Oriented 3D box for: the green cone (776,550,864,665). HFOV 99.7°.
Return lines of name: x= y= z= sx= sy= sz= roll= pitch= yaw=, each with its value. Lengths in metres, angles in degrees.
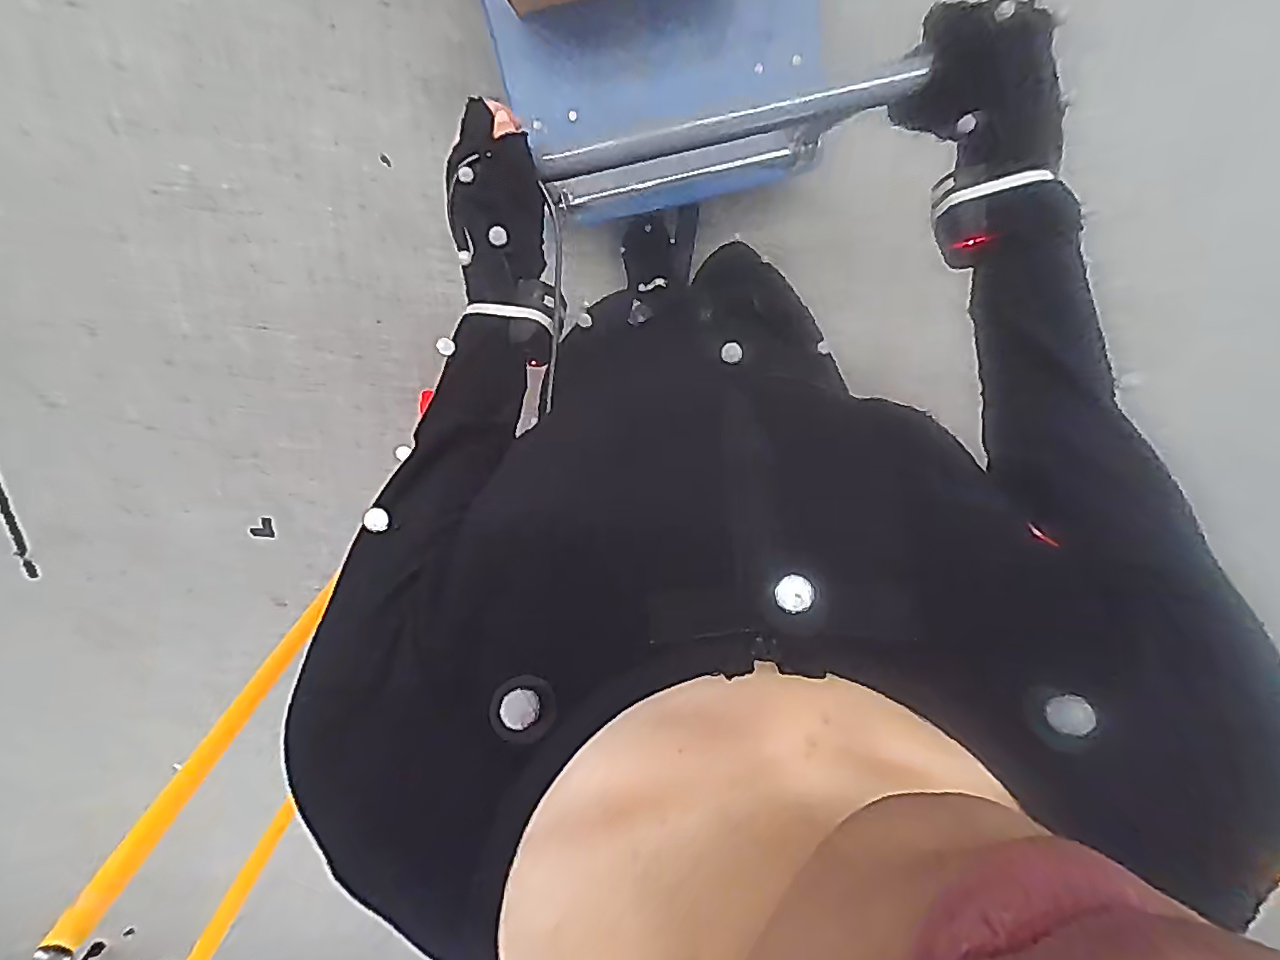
green cone: x=0.559 y=0.394 z=1.581 sx=0.202 sy=0.368 sz=0.200 roll=8 pitch=116 yaw=-7
